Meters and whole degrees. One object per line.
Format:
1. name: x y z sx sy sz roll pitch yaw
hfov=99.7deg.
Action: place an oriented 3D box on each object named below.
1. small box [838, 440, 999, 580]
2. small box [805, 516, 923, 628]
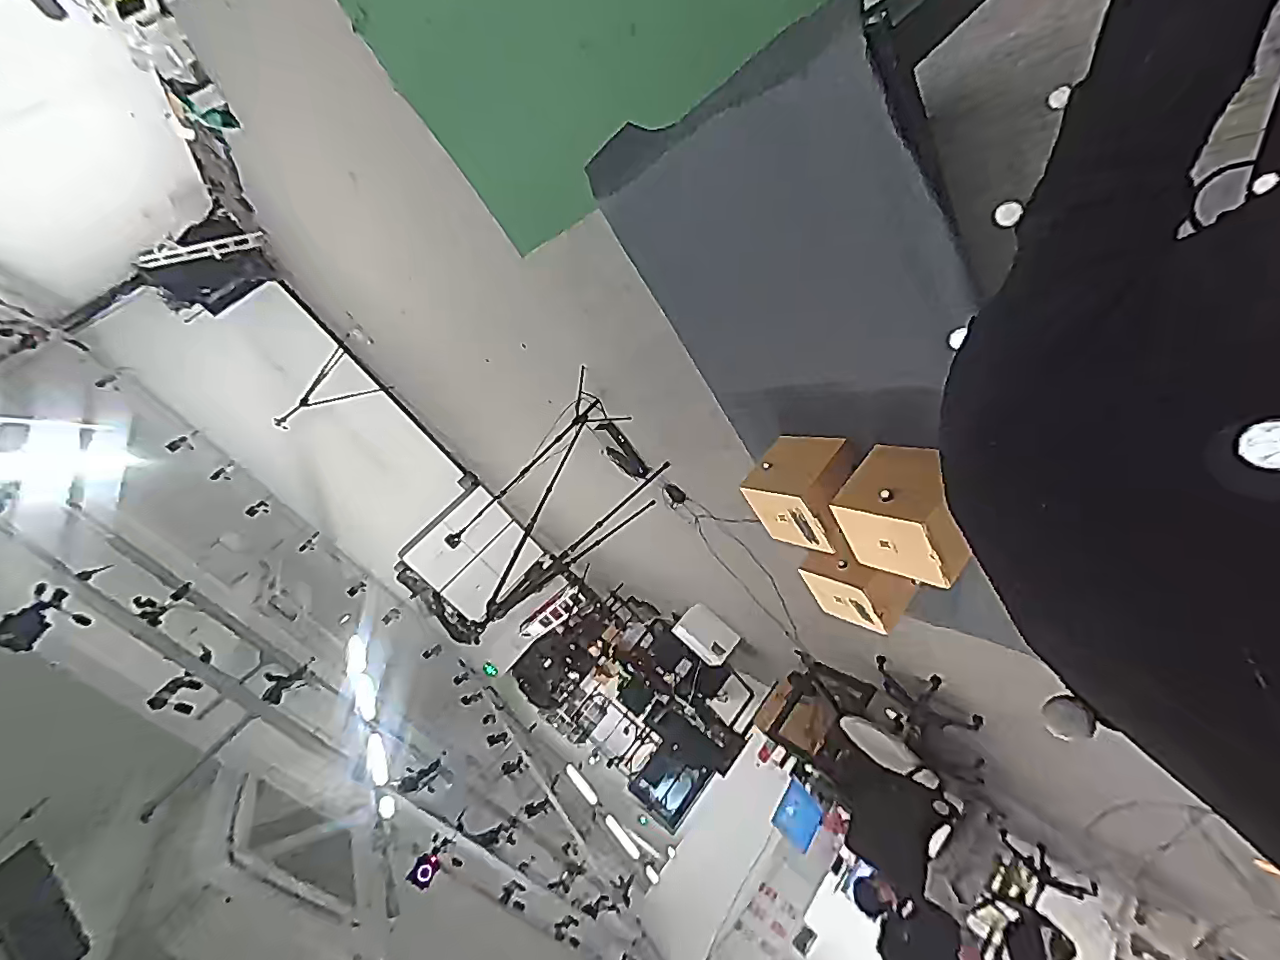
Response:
1. small box: 0.496 0.044 0.963 0.179 0.176 0.168 13 145 56
2. small box: 0.523 0.202 1.243 0.168 0.176 0.179 53 159 -26
